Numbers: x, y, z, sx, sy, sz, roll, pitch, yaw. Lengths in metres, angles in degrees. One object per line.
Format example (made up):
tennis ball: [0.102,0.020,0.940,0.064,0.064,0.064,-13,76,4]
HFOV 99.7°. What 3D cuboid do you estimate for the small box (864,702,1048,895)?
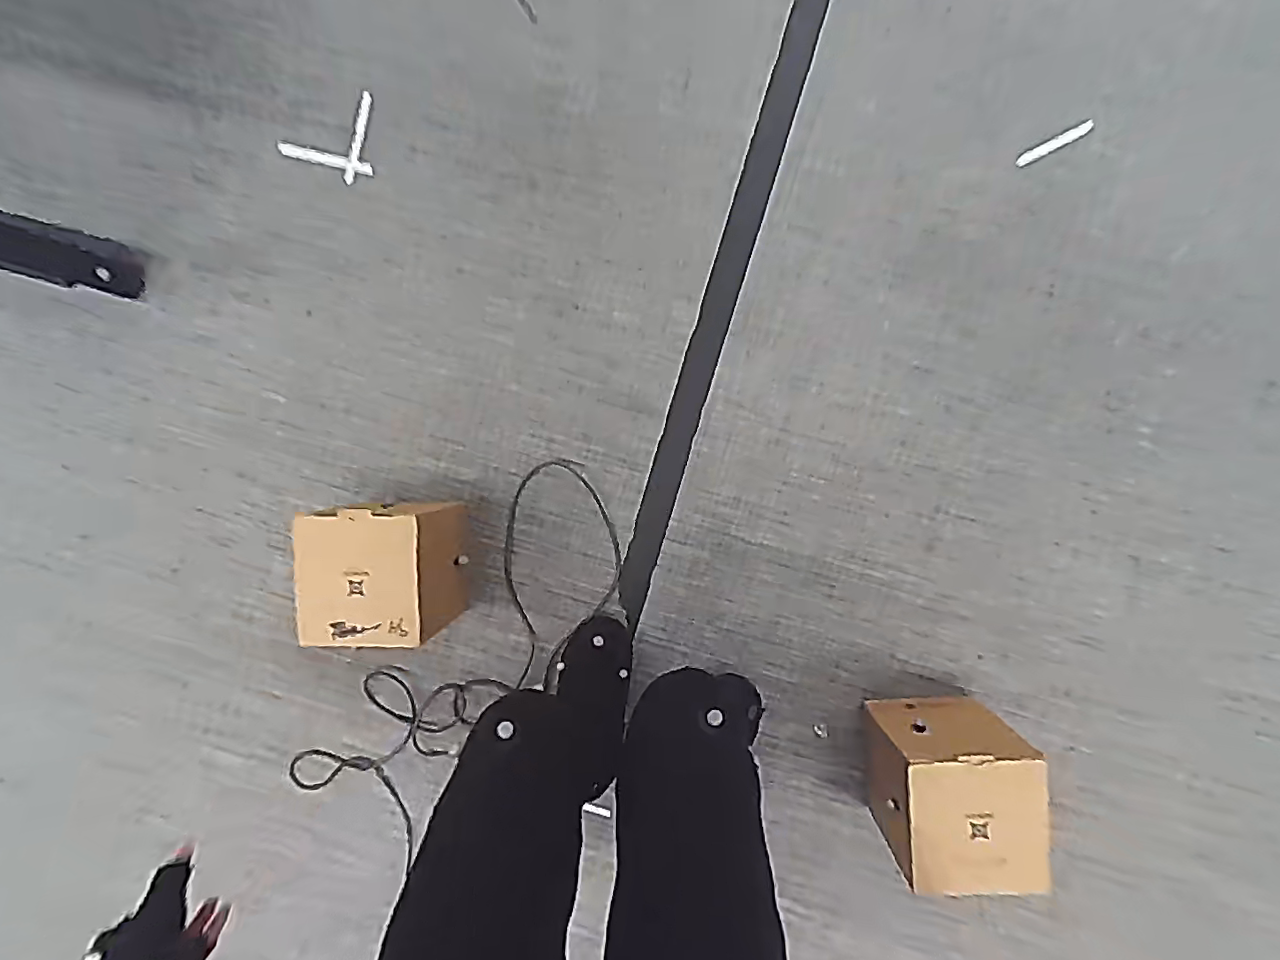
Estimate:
small box: [0.419,0.421,0.743,0.168,0.176,0.179,-4,93,5]

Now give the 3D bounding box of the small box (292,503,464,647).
small box: [-0.362,0.124,0.773,0.168,0.176,0.179,0,92,3]
